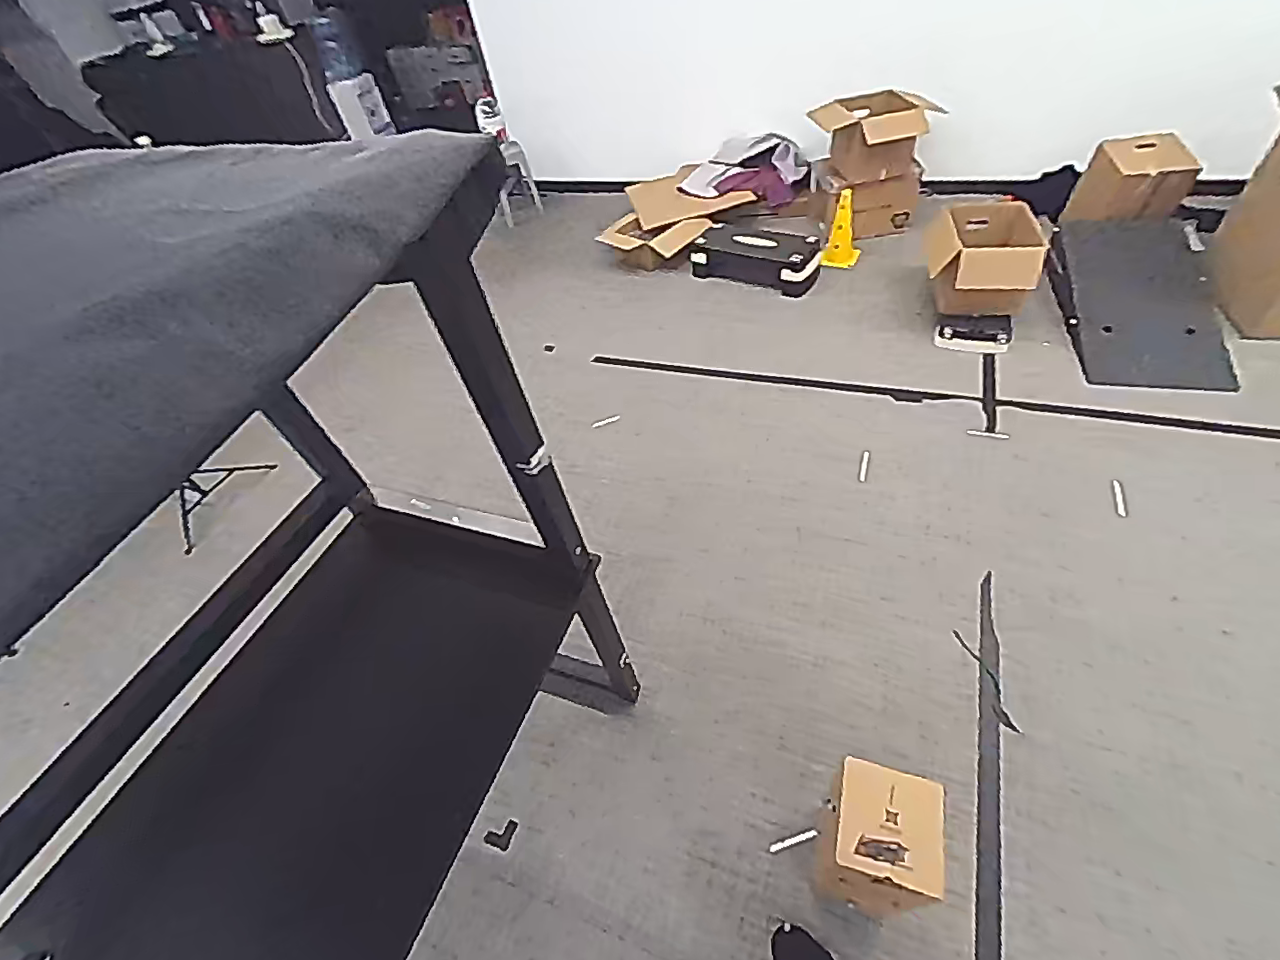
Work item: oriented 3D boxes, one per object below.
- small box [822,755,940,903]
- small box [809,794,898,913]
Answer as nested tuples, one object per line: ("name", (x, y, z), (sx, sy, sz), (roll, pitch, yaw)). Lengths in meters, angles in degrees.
("small box", (0.431, 0.635, 0.980), (0.168, 0.176, 0.179), (10, 52, 17))
("small box", (0.486, 0.846, 1.227), (0.168, 0.176, 0.179), (11, 53, 19))
